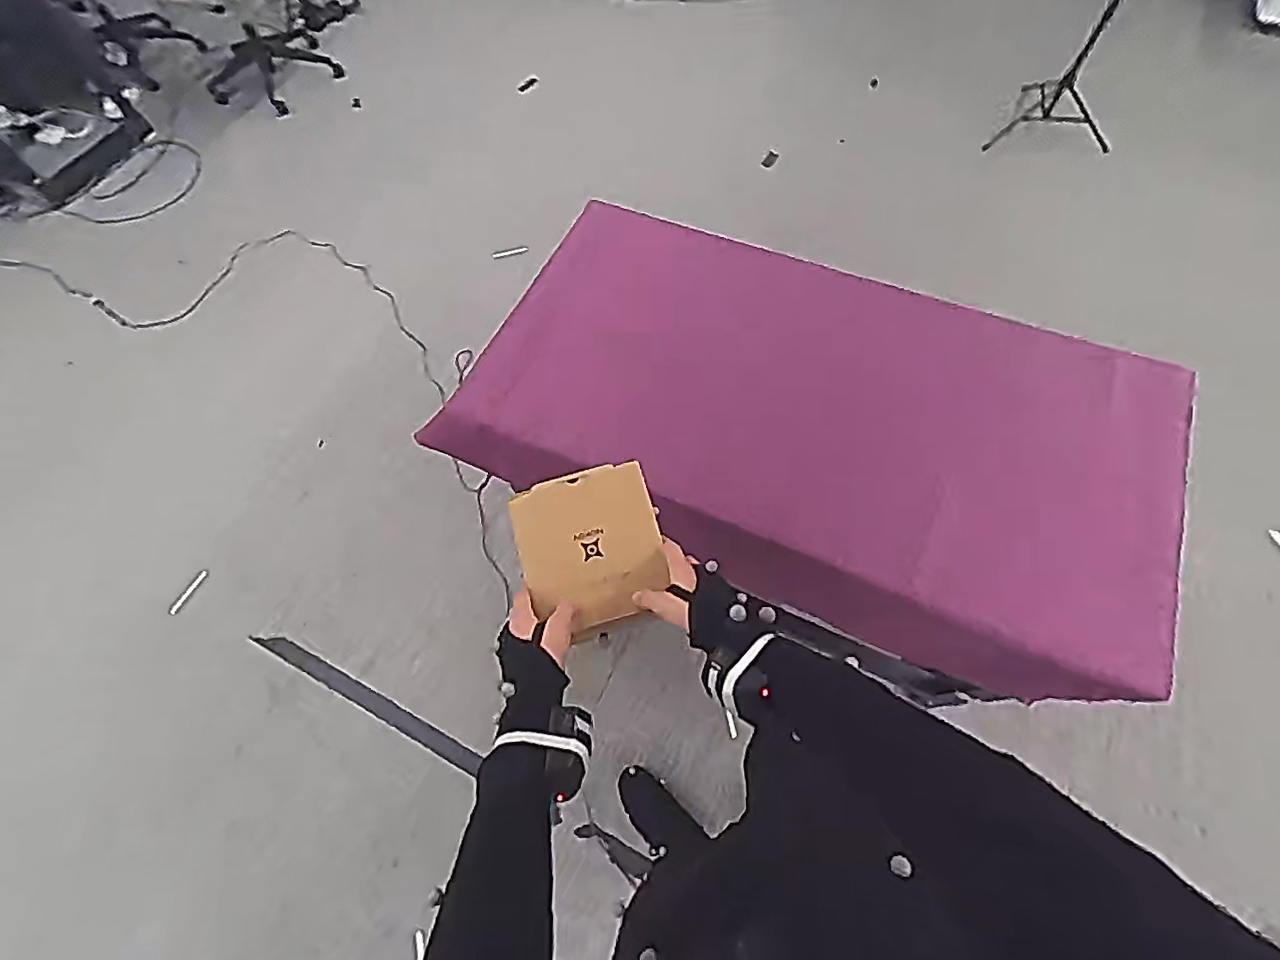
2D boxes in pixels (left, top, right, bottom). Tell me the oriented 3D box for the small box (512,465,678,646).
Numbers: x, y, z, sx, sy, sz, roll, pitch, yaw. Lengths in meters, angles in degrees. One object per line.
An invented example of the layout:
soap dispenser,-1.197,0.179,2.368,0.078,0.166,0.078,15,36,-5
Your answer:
small box,-0.058,0.106,0.709,0.168,0.176,0.179,-15,70,-6
